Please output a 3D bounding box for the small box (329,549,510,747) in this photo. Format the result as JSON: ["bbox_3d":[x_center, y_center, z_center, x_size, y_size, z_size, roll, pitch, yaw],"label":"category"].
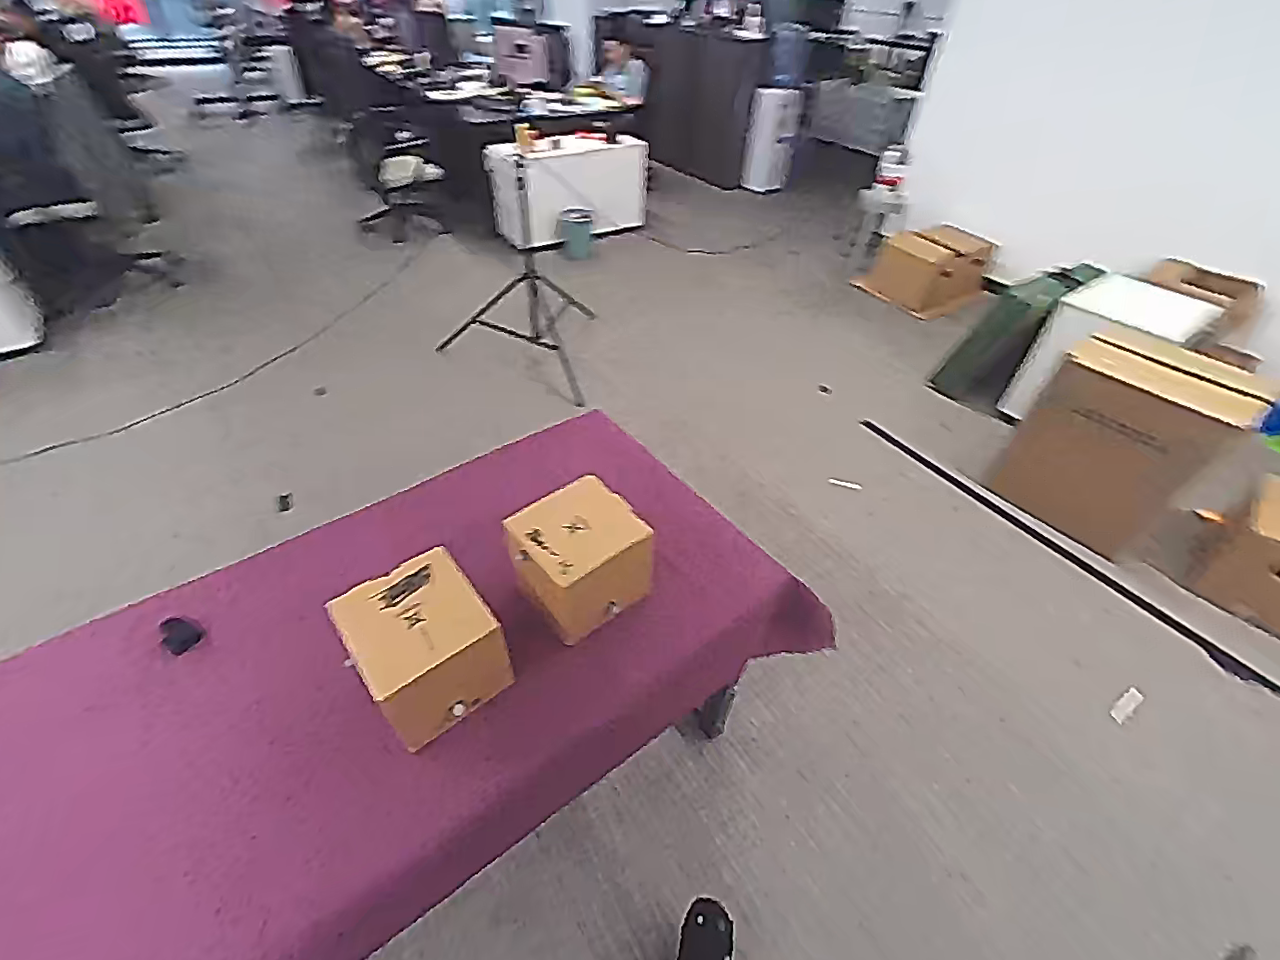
[{"bbox_3d":[-0.306,0.239,0.774,0.168,0.176,0.179,-30,53,-29],"label":"small box"}]

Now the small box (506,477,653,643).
[{"bbox_3d":[-0.100,0.132,0.898,0.179,0.176,0.168,-29,52,-29],"label":"small box"}]
